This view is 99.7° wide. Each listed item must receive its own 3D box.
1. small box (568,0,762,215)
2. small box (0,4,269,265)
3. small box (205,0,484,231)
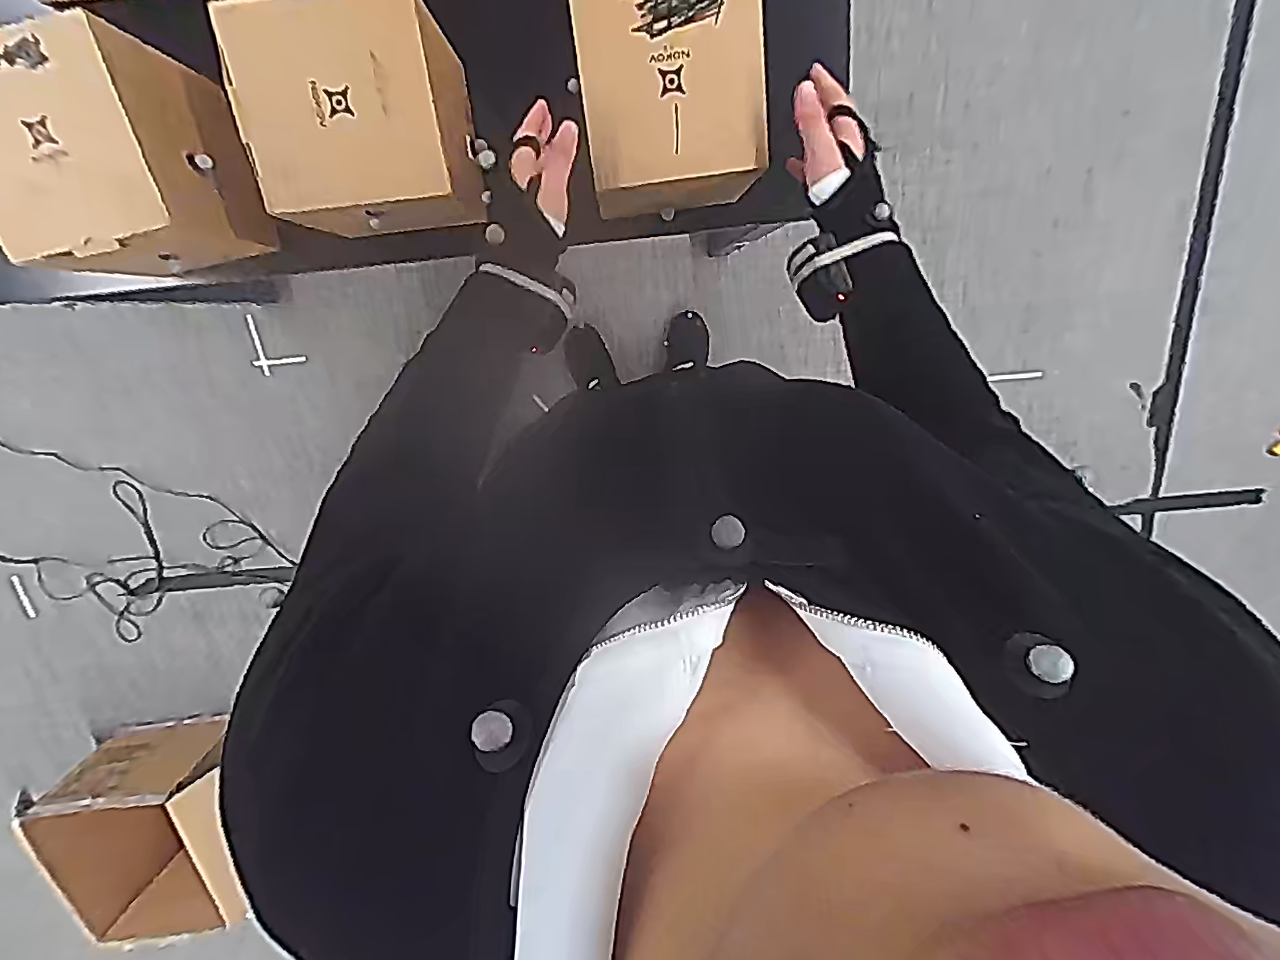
[{"bbox_3d":[0.021,-0.390,0.554,0.168,0.176,0.179,-7,107,1],"label":"small box"},{"bbox_3d":[-0.532,-0.326,0.554,0.168,0.176,0.179,-12,108,2],"label":"small box"},{"bbox_3d":[-0.277,-0.362,0.554,0.179,0.176,0.168,-6,107,-1],"label":"small box"}]
